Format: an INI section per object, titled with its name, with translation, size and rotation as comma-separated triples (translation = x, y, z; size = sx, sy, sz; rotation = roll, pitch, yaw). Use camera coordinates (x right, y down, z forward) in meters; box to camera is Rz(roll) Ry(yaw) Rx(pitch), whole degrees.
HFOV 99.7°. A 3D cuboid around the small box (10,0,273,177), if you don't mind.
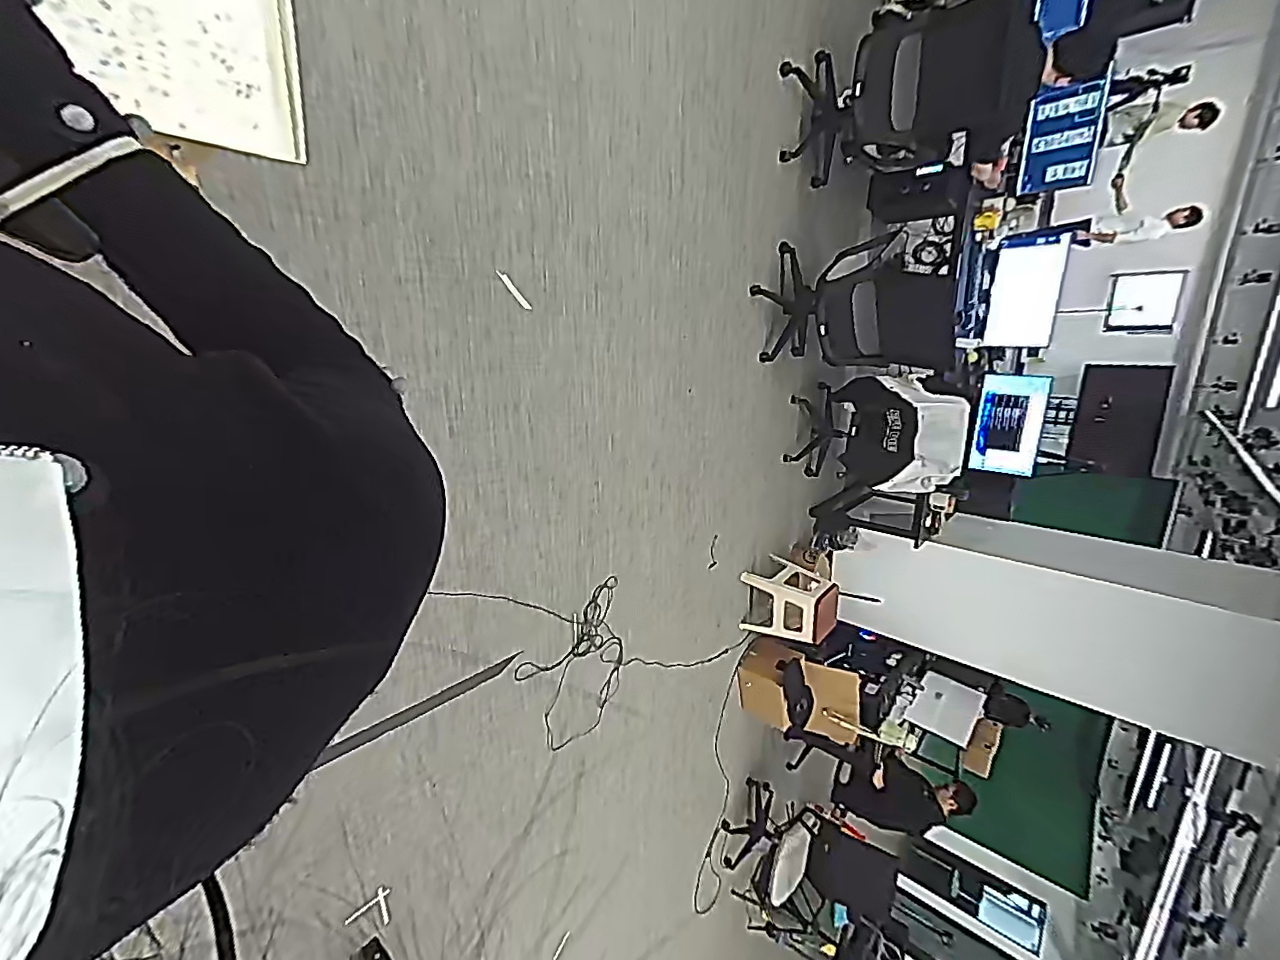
[small box]
translation = -0.510, -0.436, 0.555
size = 0.168, 0.176, 0.179
rotation = -15, 113, -49
